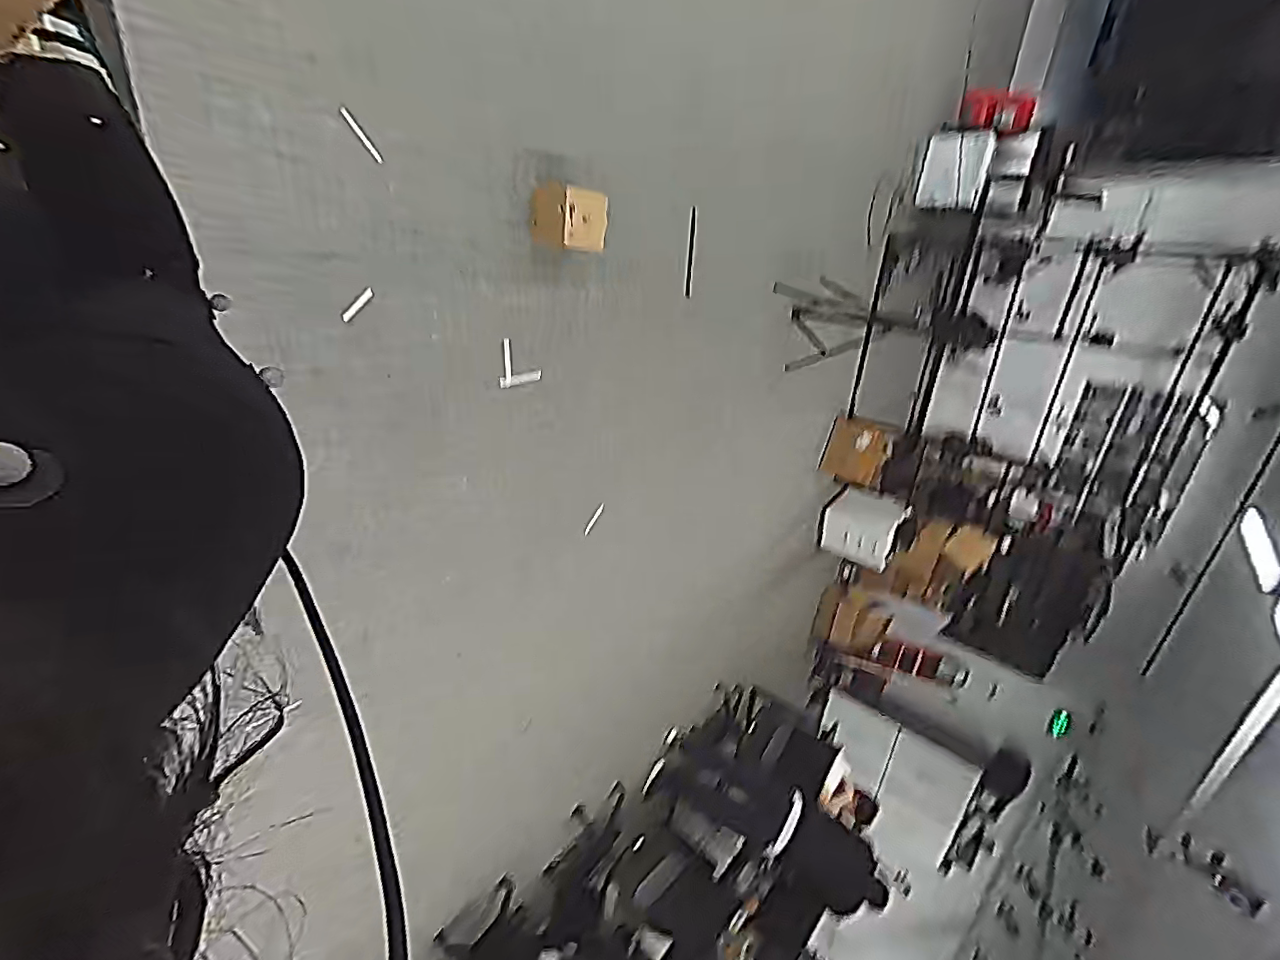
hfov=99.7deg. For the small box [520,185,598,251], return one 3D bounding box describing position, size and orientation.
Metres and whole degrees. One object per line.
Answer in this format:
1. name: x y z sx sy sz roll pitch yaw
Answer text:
1. small box: -0.262 -0.844 1.743 0.179 0.176 0.168 -17 121 -48
